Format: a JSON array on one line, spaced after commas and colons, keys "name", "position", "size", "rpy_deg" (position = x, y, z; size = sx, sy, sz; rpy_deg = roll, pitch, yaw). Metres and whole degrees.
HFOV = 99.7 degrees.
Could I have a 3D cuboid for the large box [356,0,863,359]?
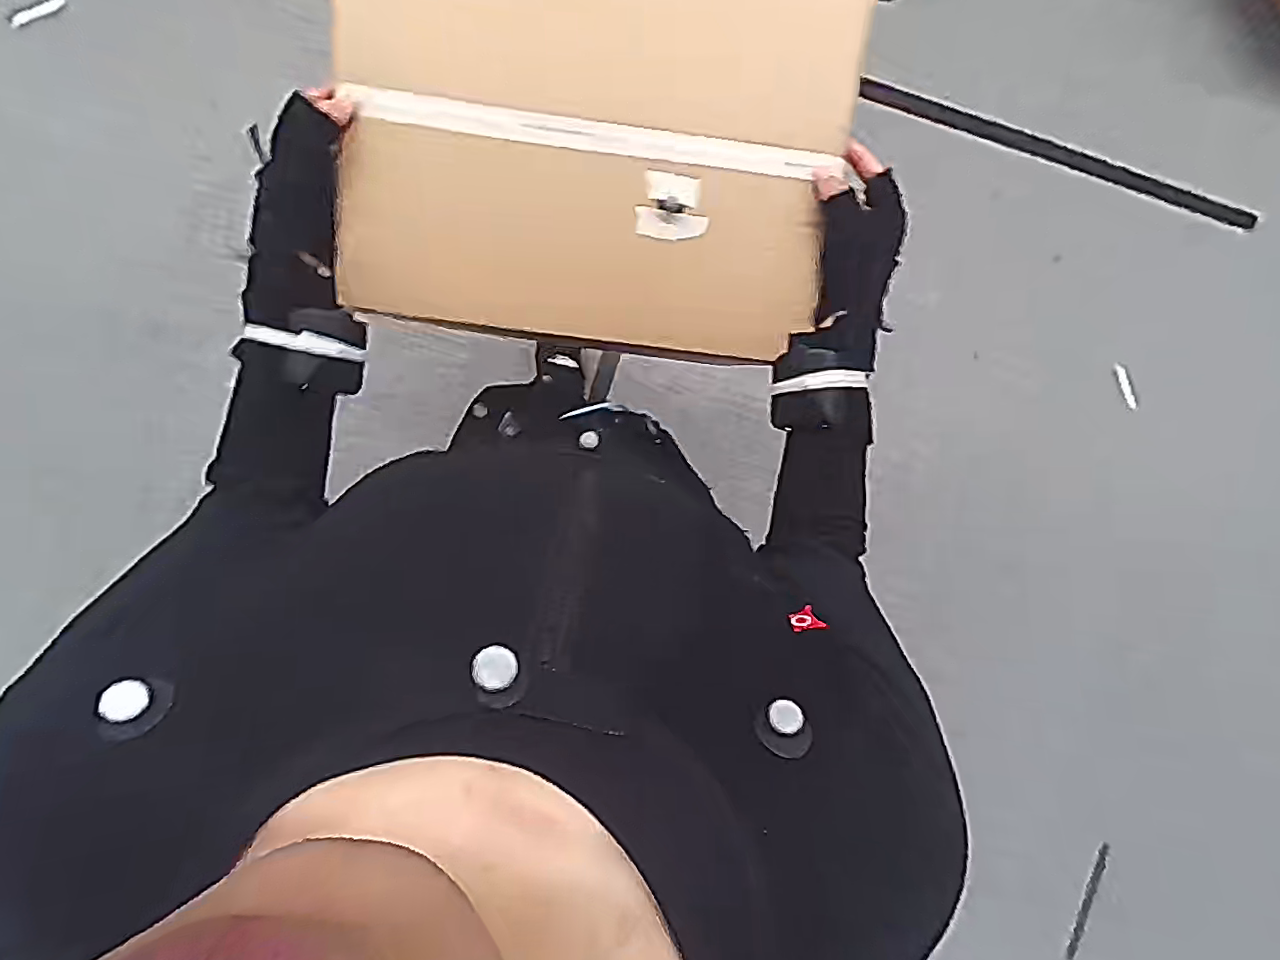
[{"name": "large box", "position": [-0.041, -0.313, 0.593], "size": [0.408, 0.320, 0.320], "rpy_deg": [6, 102, -5]}]
